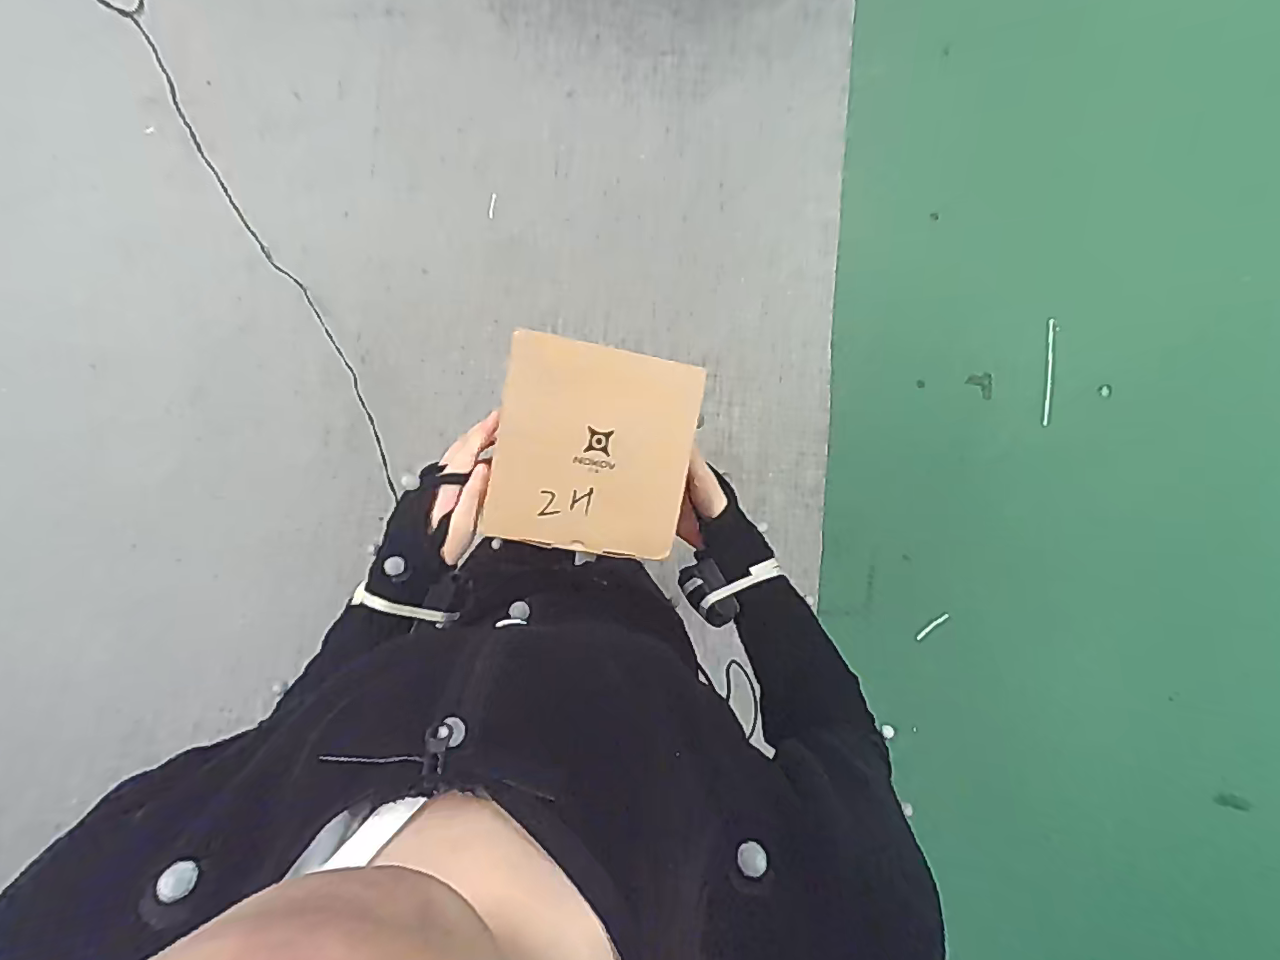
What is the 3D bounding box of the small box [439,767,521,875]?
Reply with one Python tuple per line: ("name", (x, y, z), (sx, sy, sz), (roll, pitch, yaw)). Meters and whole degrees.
("small box", (-0.408, 0.879, 1.401), (0.168, 0.176, 0.179), (4, 88, -4))
